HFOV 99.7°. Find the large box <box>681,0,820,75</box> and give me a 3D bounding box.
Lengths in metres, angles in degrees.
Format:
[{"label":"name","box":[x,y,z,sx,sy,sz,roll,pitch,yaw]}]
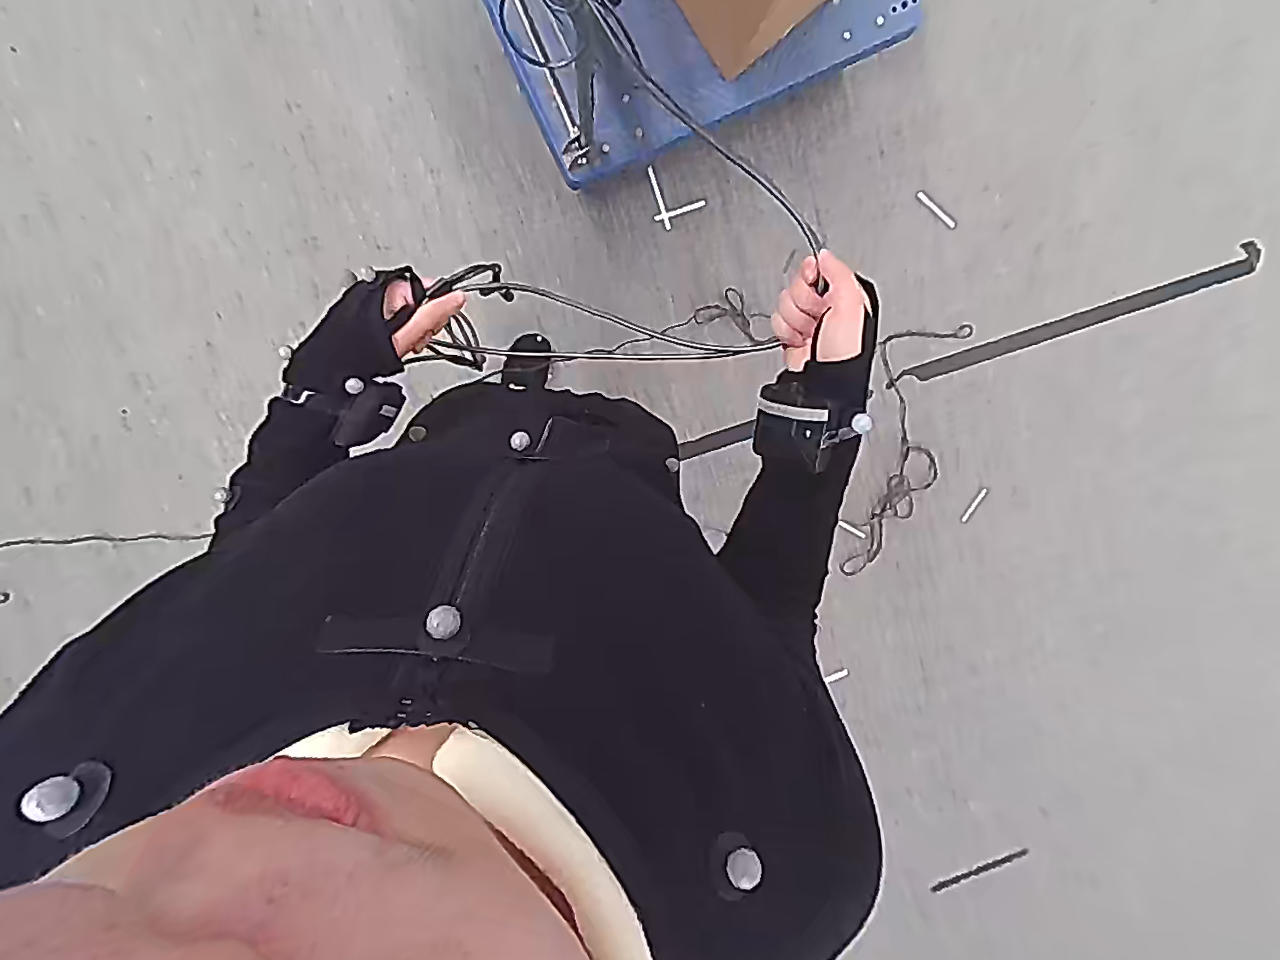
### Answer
[{"label":"large box","box":[0.202,-1.069,0.958,0.320,0.320,0.408,-39,105,4]}]
